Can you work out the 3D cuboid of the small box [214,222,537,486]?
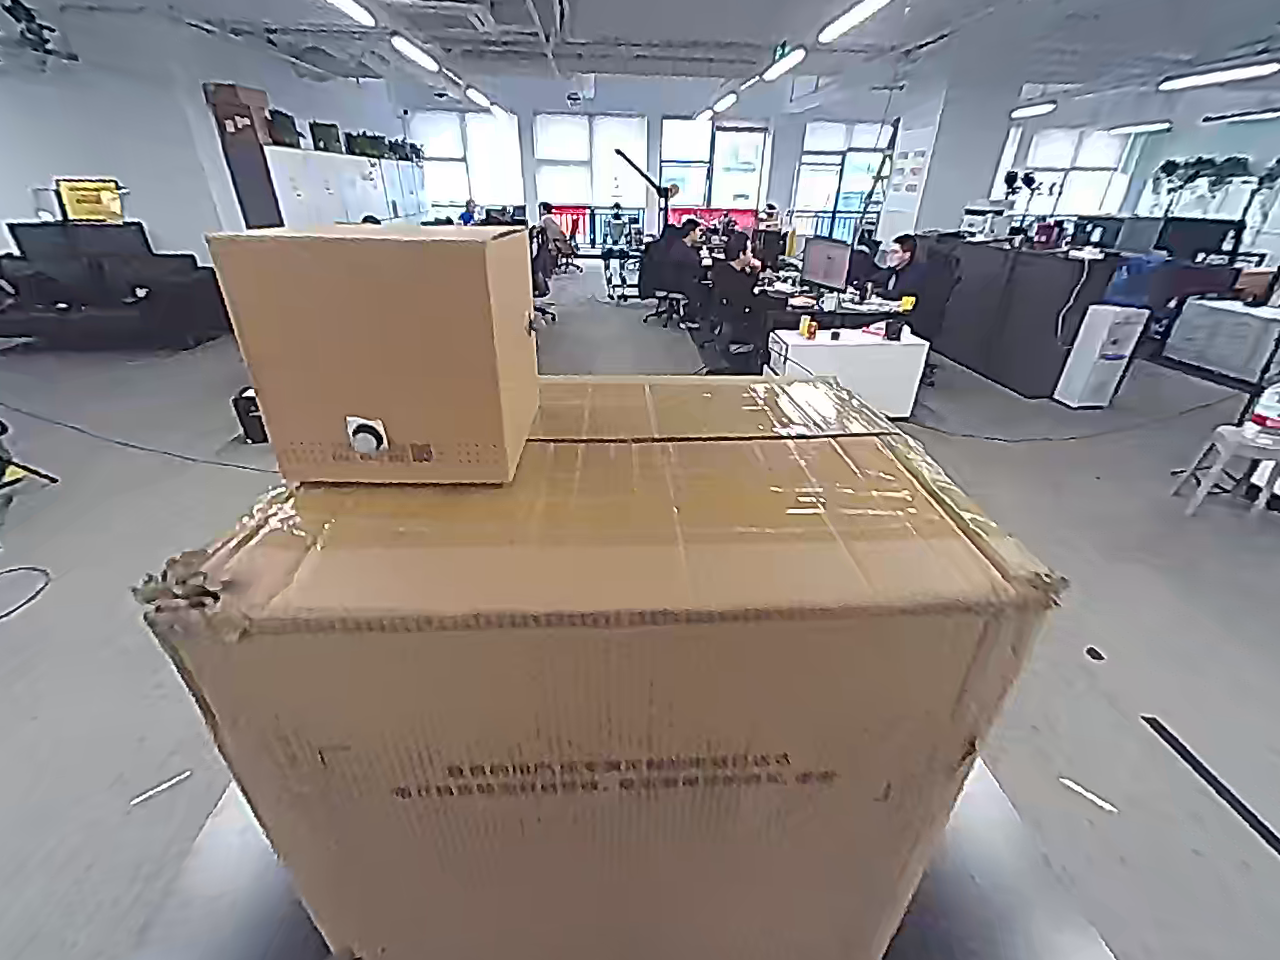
[{"bbox_3d":[-0.176,-0.108,0.430,0.168,0.176,0.179,-1,28,-3],"label":"small box"}]
